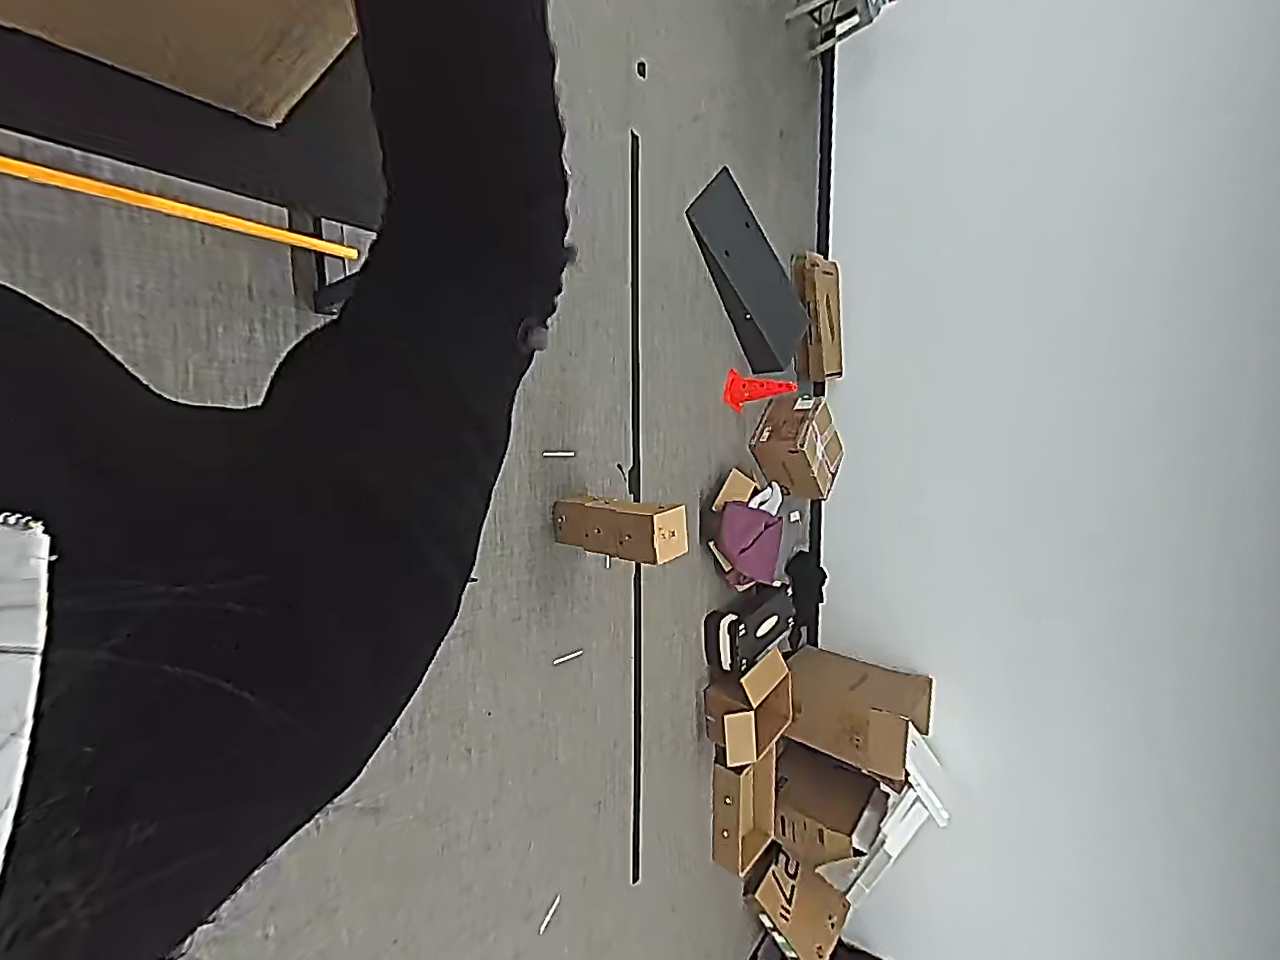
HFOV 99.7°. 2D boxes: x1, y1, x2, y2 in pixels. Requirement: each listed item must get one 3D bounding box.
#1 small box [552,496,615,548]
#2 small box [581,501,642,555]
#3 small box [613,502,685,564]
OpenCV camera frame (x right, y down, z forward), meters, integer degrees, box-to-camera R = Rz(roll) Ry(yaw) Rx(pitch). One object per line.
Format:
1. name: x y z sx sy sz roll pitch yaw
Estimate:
1. small box: -0.211 0.152 2.044 0.179 0.176 0.168 -8 98 -49
2. small box: -0.096 0.166 1.926 0.179 0.176 0.168 -7 97 -49
3. small box: 0.030 0.172 1.819 0.179 0.176 0.168 -15 103 -49
